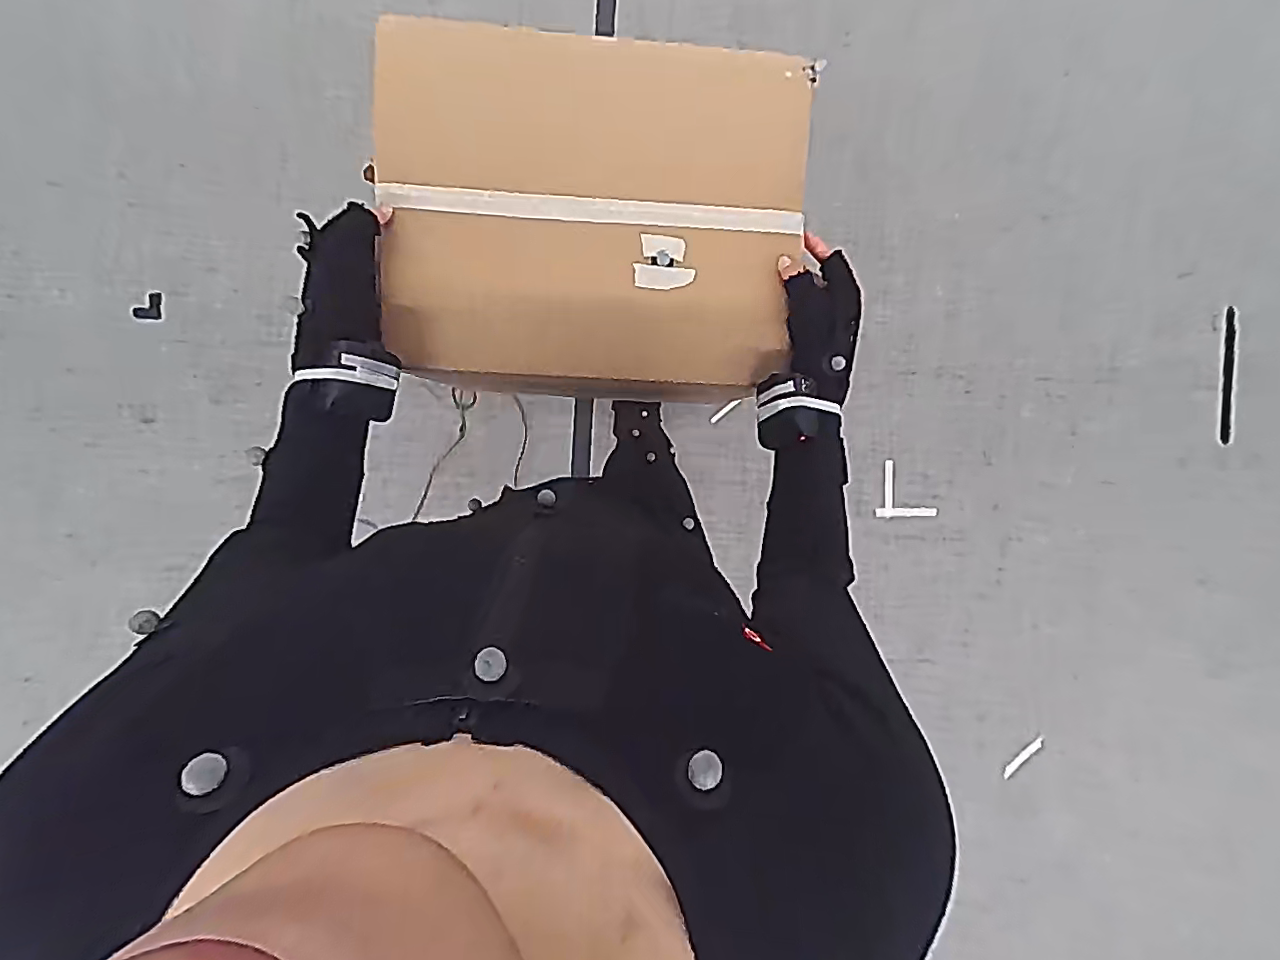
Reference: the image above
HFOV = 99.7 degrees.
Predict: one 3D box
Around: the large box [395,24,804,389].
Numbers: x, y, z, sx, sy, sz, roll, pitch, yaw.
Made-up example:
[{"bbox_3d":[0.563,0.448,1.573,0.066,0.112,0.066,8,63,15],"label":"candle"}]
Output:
[{"bbox_3d":[-0.050,-0.286,0.683,0.408,0.320,0.320,2,96,-5],"label":"large box"}]
